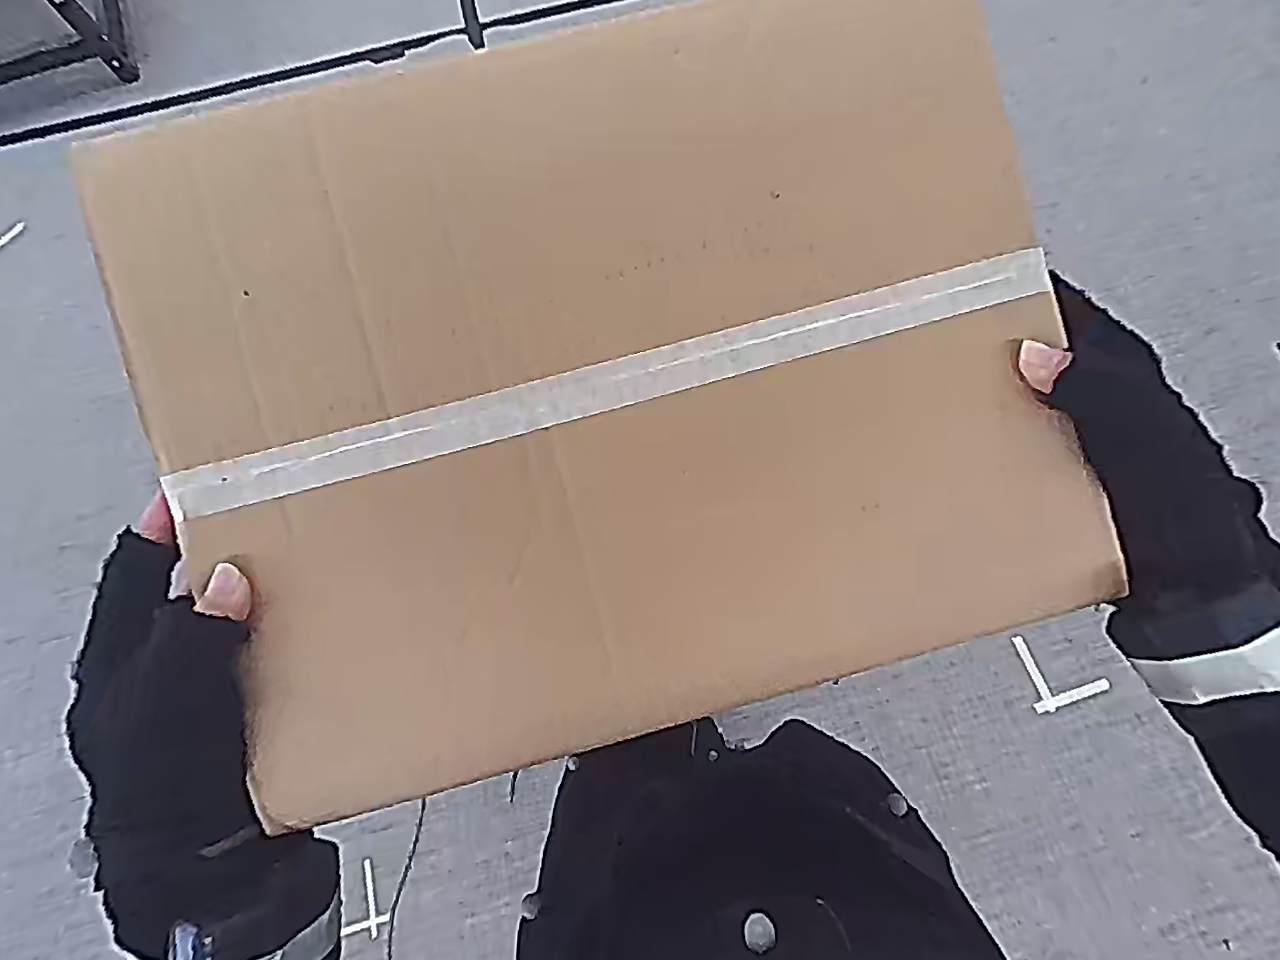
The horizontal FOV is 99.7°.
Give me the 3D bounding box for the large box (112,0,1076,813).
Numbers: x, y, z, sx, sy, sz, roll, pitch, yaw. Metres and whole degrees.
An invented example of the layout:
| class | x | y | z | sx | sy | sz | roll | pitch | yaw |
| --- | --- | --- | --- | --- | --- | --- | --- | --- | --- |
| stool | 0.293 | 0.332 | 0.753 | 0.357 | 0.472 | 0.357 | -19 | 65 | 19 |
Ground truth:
| class | x | y | z | sx | sy | sz | roll | pitch | yaw |
| --- | --- | --- | --- | --- | --- | --- | --- | --- | --- |
| large box | -0.016 | -0.046 | 0.404 | 0.408 | 0.320 | 0.320 | -15 | 90 | -2 |
